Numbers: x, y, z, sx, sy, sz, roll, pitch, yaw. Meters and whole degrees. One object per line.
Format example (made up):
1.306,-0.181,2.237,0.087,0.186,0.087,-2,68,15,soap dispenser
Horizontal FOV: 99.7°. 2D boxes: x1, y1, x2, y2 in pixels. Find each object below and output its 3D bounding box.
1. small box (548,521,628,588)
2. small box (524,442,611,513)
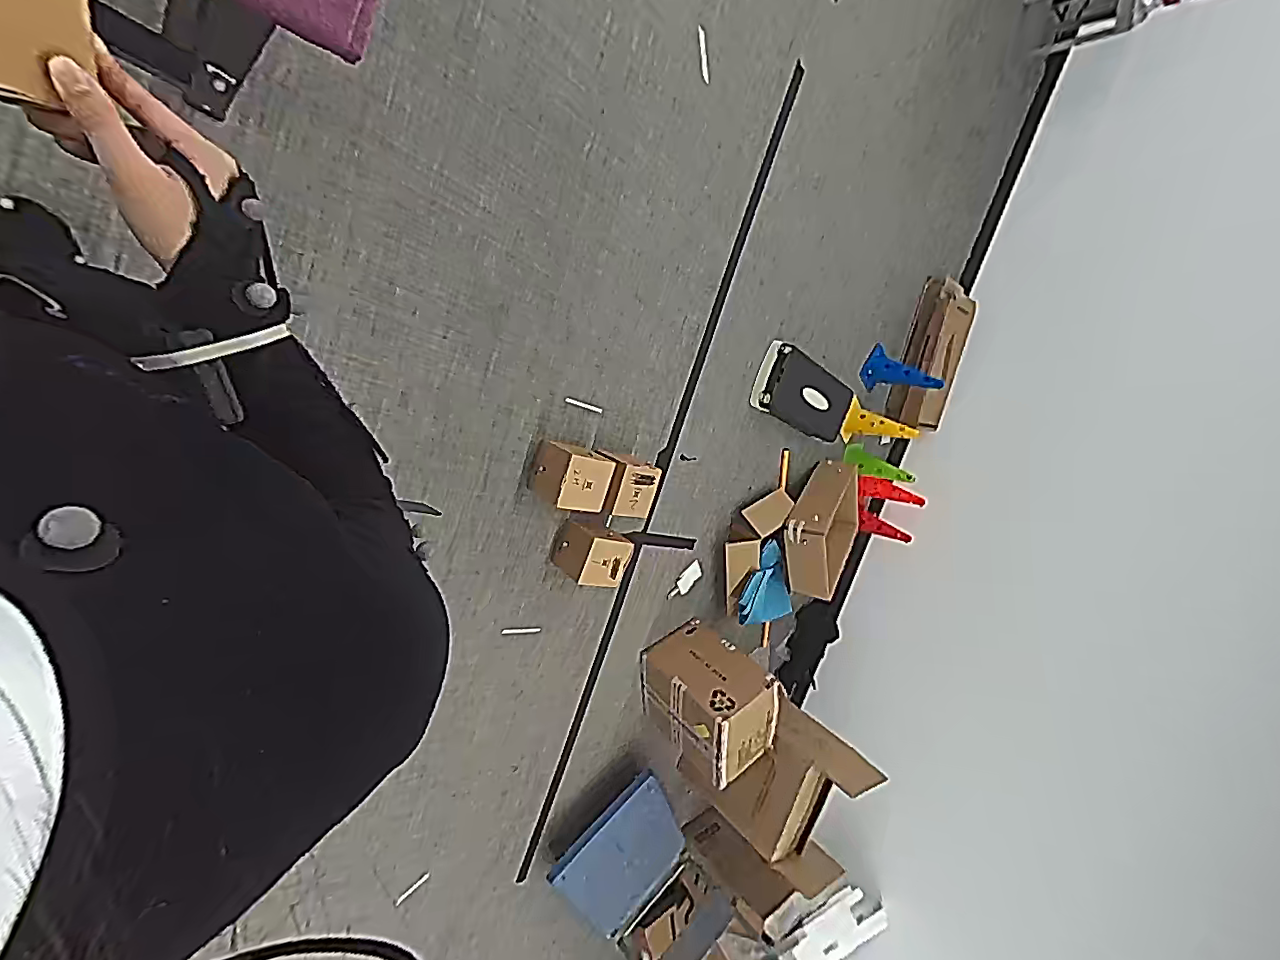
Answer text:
-0.178,0.248,1.823,0.179,0.176,0.168,16,98,-45,small box
-0.224,-0.010,1.660,0.179,0.176,0.168,11,100,-45,small box
